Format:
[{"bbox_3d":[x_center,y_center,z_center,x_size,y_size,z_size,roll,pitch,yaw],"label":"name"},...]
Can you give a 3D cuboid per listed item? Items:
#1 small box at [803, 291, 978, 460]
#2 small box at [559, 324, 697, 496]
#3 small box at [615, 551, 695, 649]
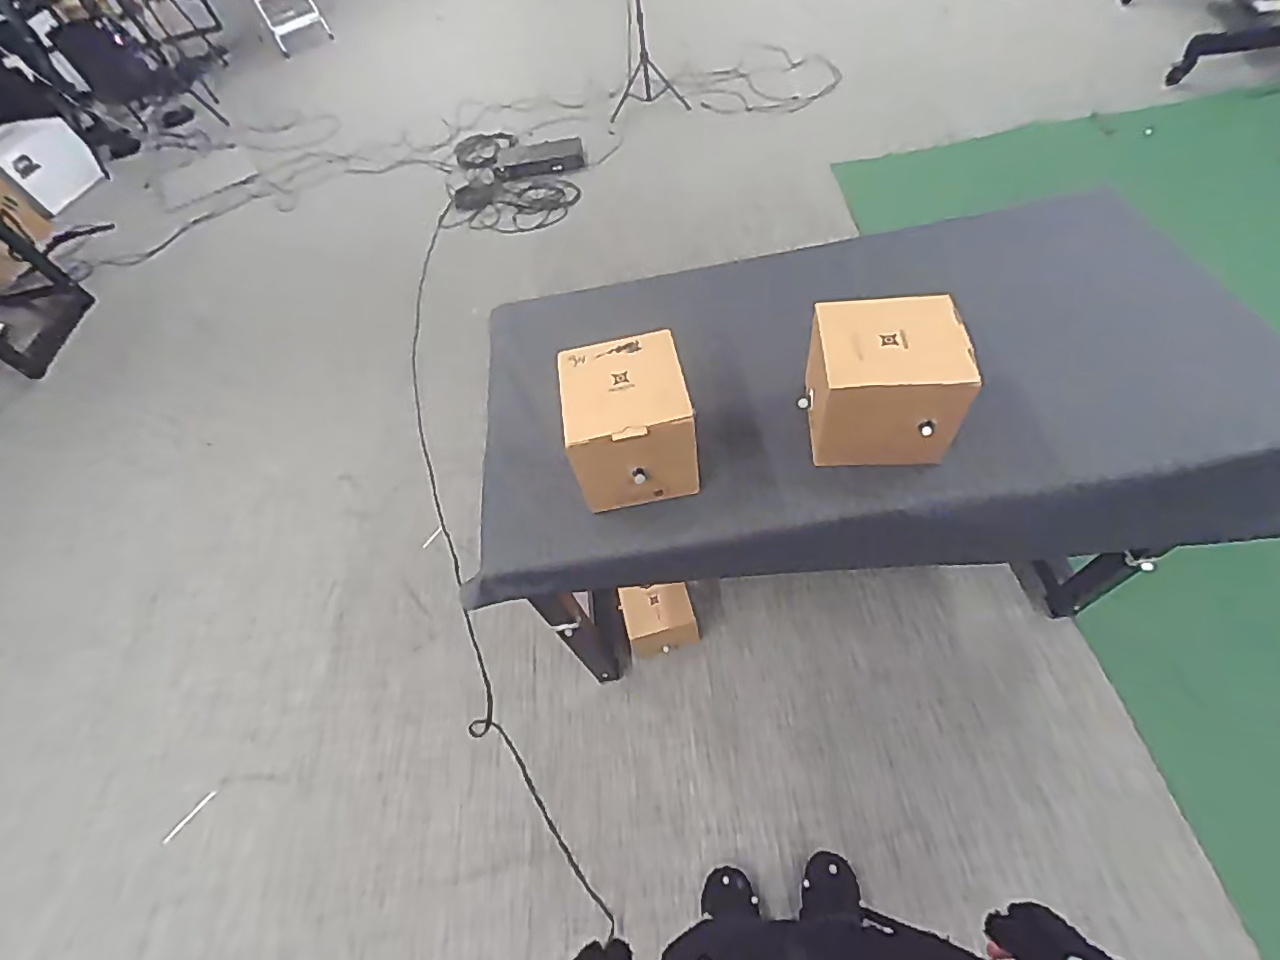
[{"bbox_3d":[0.335,-0.141,0.765,0.179,0.176,0.168,-2,55,9],"label":"small box"},{"bbox_3d":[-0.013,-0.091,0.785,0.168,0.176,0.179,-11,55,1],"label":"small box"},{"bbox_3d":[0.040,0.312,1.393,0.168,0.176,0.179,-15,57,-1],"label":"small box"}]
